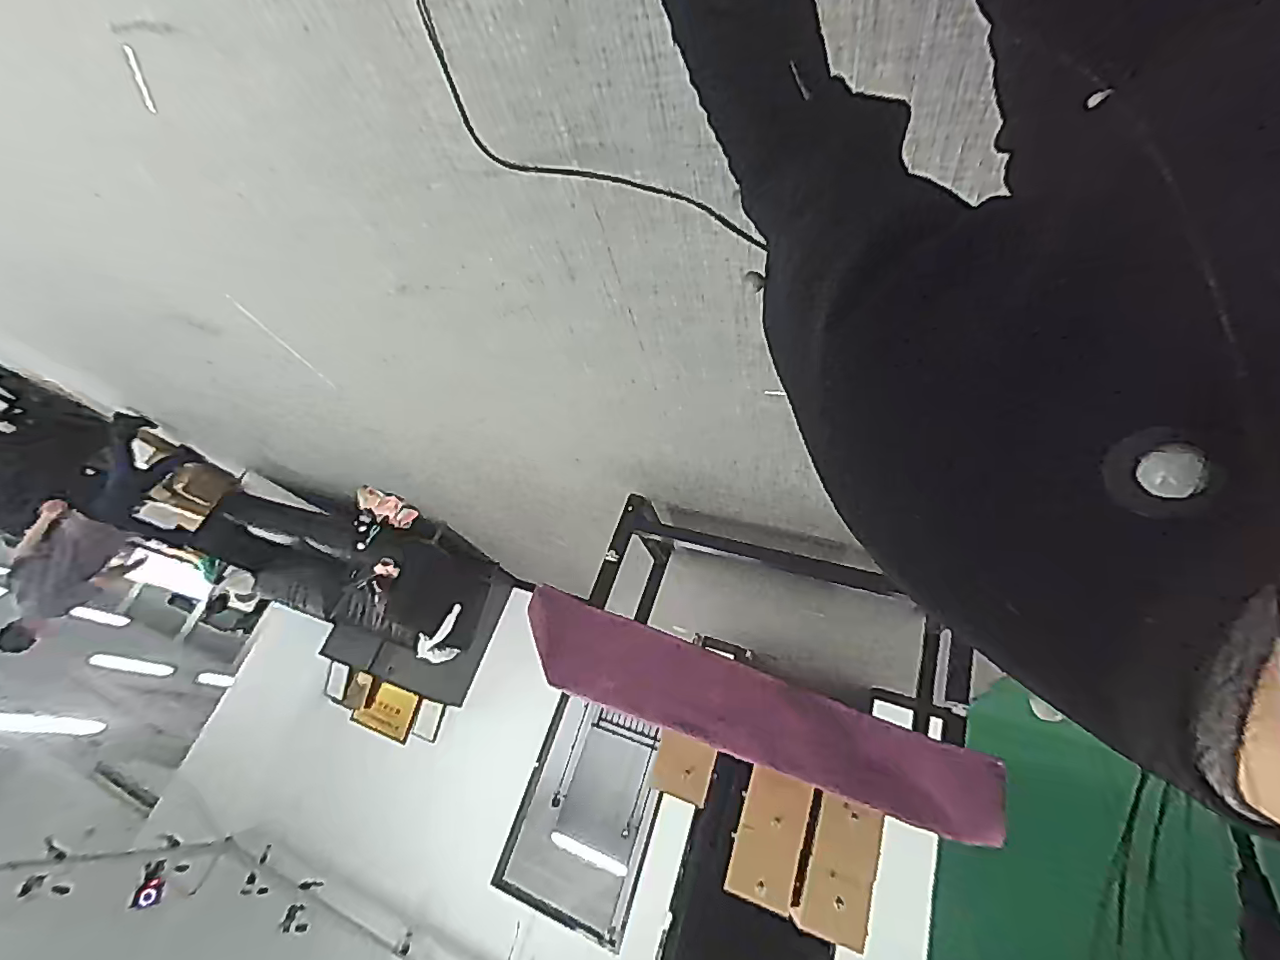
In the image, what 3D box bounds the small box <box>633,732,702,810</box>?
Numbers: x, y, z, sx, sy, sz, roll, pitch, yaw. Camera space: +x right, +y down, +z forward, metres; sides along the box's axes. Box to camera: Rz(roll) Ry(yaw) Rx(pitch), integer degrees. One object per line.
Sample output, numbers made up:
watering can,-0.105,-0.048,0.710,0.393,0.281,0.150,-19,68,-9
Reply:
small box,0.092,0.896,1.678,0.179,0.176,0.168,15,155,13
